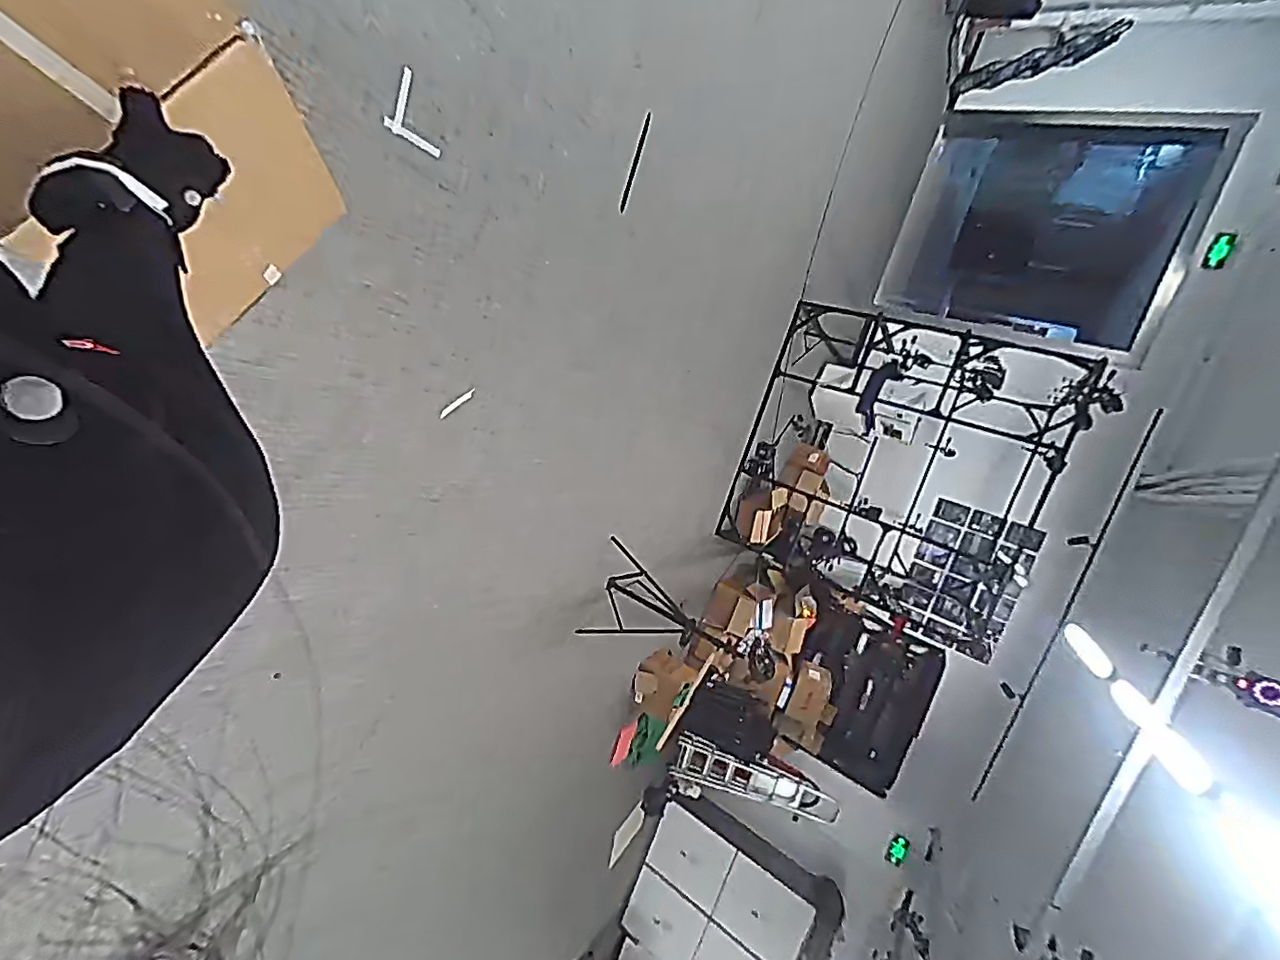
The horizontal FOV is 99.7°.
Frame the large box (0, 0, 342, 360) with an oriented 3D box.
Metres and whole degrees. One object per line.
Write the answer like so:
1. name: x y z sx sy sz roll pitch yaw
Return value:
1. large box: -0.665 -0.419 0.641 0.320 0.408 0.320 -55 -173 -12
